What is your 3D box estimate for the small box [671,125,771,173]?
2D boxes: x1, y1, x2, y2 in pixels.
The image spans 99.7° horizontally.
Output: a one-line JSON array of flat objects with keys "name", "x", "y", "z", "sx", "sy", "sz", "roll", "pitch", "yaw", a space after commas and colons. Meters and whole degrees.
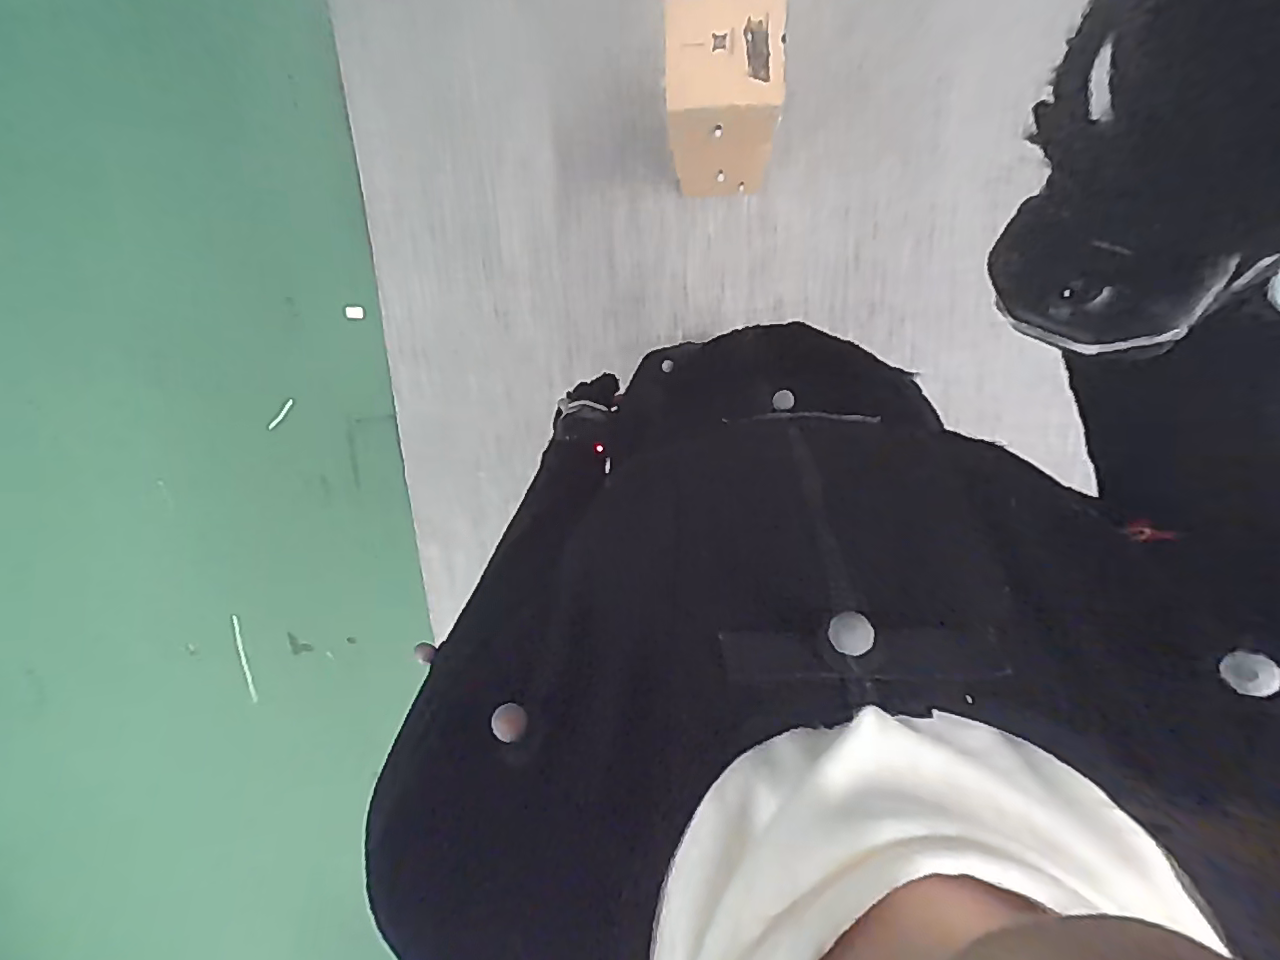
[{"name": "small box", "x": 0.151, "y": -0.692, "z": 1.016, "sx": 0.179, "sy": 0.176, "sz": 0.168, "roll": 3, "pitch": 105, "yaw": 5}]

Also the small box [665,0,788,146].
[{"name": "small box", "x": 0.130, "y": -0.653, "z": 0.857, "sx": 0.179, "sy": 0.176, "sz": 0.168, "roll": -2, "pitch": 104, "yaw": 6}]

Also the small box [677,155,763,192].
[{"name": "small box", "x": 0.170, "y": -0.739, "z": 1.172, "sx": 0.179, "sy": 0.176, "sz": 0.168, "roll": 0, "pitch": 104, "yaw": 8}]
